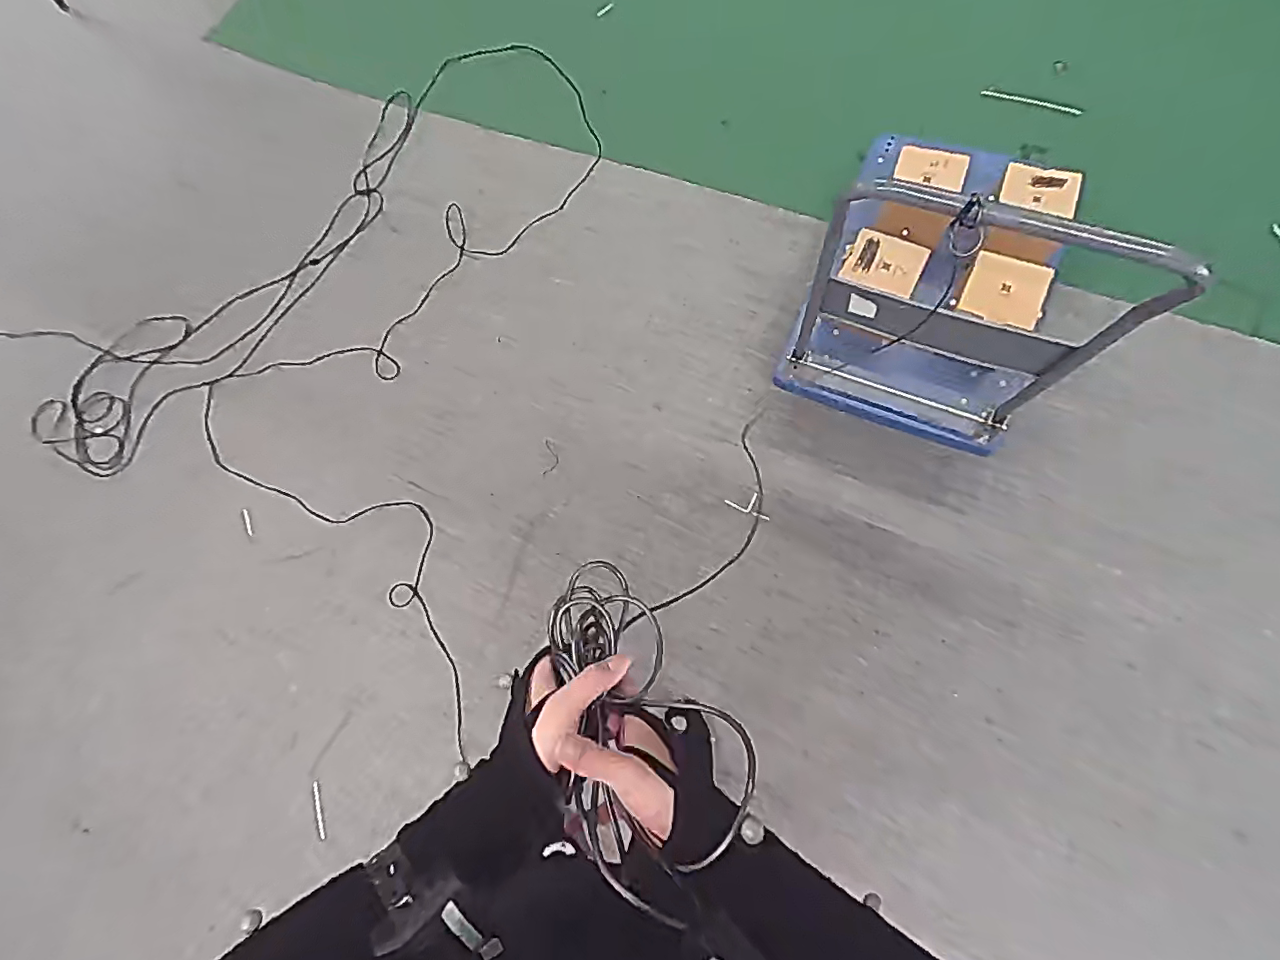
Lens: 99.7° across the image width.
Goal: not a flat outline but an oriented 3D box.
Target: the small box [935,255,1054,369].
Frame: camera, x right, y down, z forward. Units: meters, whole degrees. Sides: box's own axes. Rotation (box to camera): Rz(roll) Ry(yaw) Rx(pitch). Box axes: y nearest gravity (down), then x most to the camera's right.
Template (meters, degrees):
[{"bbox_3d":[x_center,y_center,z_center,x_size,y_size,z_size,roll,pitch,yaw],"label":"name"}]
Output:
[{"bbox_3d":[0.850,-0.403,1.314,0.168,0.176,0.179,24,79,14],"label":"small box"}]

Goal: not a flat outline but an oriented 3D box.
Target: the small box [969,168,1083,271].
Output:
[{"bbox_3d":[0.965,-0.642,1.367,0.168,0.176,0.179,19,78,14],"label":"small box"}]

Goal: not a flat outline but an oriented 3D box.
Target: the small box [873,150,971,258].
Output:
[{"bbox_3d":[0.733,-0.720,1.425,0.168,0.176,0.179,19,77,13],"label":"small box"}]
